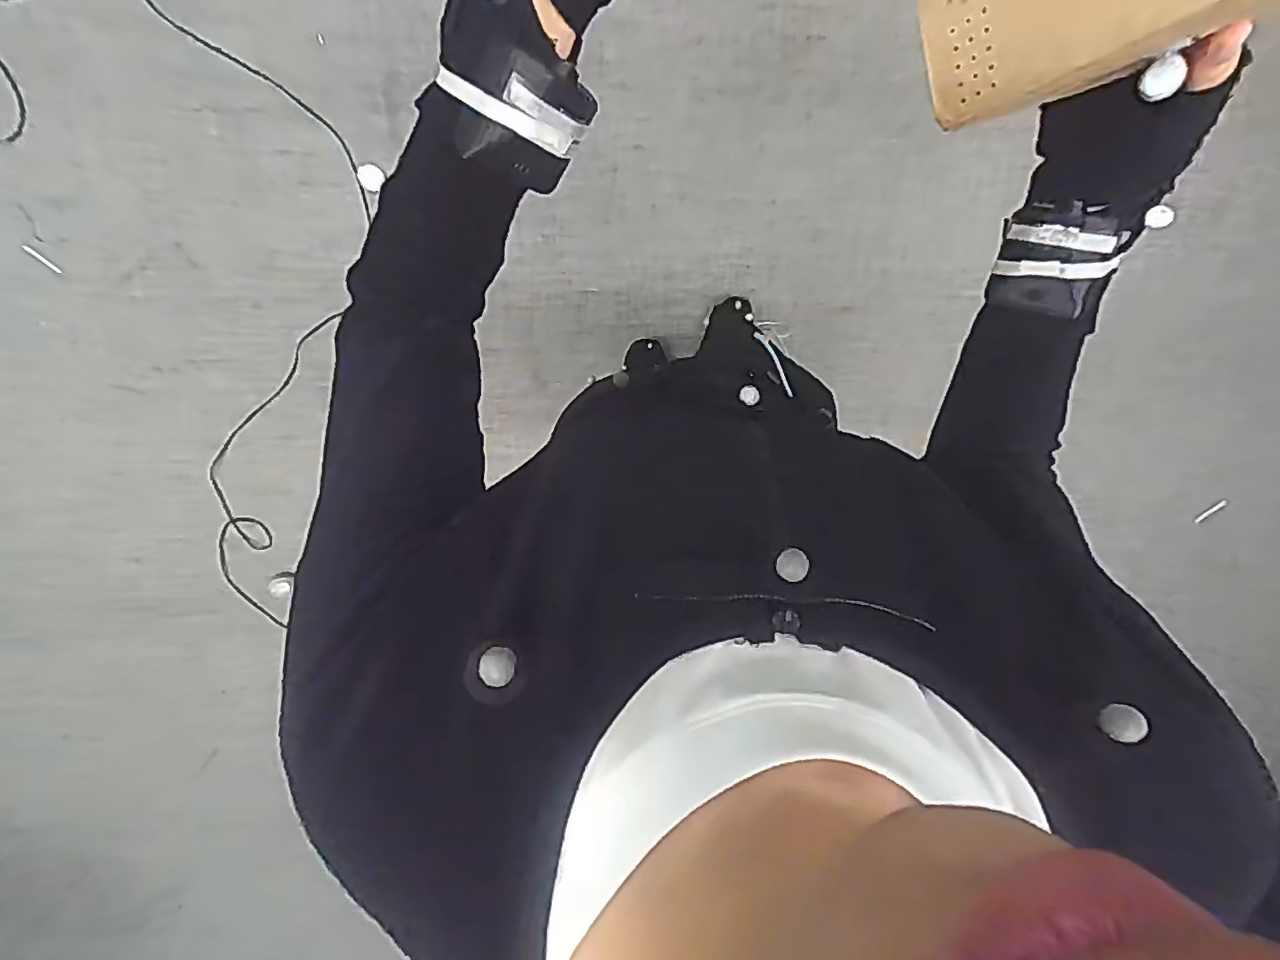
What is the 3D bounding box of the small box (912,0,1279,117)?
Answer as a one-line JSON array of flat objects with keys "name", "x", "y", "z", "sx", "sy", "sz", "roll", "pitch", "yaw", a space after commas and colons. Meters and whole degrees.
[{"name": "small box", "x": 0.205, "y": -0.248, "z": 0.164, "sx": 0.179, "sy": 0.176, "sz": 0.168, "roll": -27, "pitch": 108, "yaw": -19}]
